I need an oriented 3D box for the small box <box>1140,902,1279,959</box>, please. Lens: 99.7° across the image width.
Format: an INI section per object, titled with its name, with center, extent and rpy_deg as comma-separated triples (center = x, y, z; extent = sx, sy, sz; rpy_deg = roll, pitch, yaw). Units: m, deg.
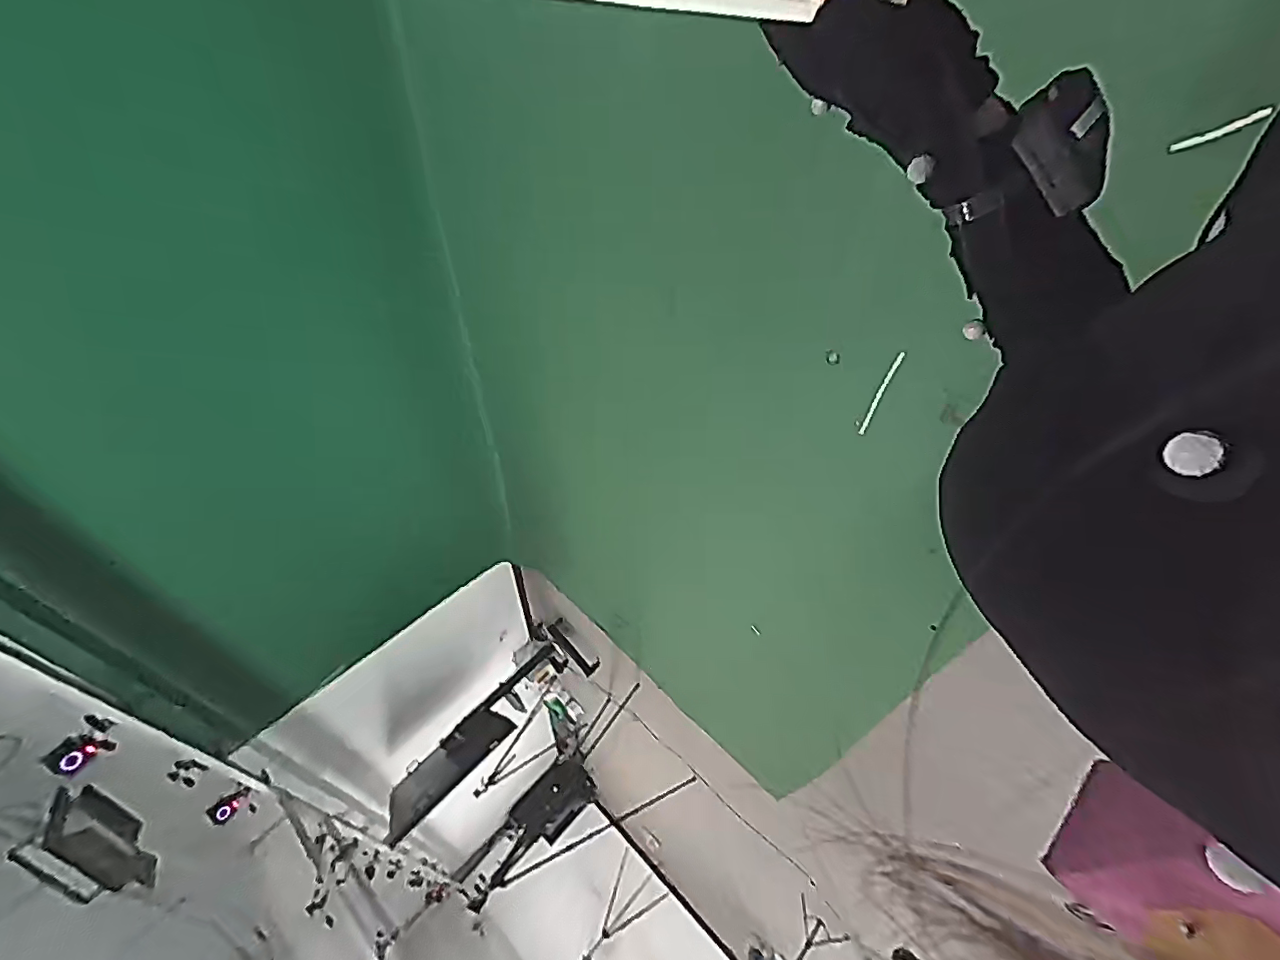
[small box]
center = 0.931, 0.798, 0.835
extent = 0.168, 0.176, 0.179
rpy_deg = 40, 148, 19
